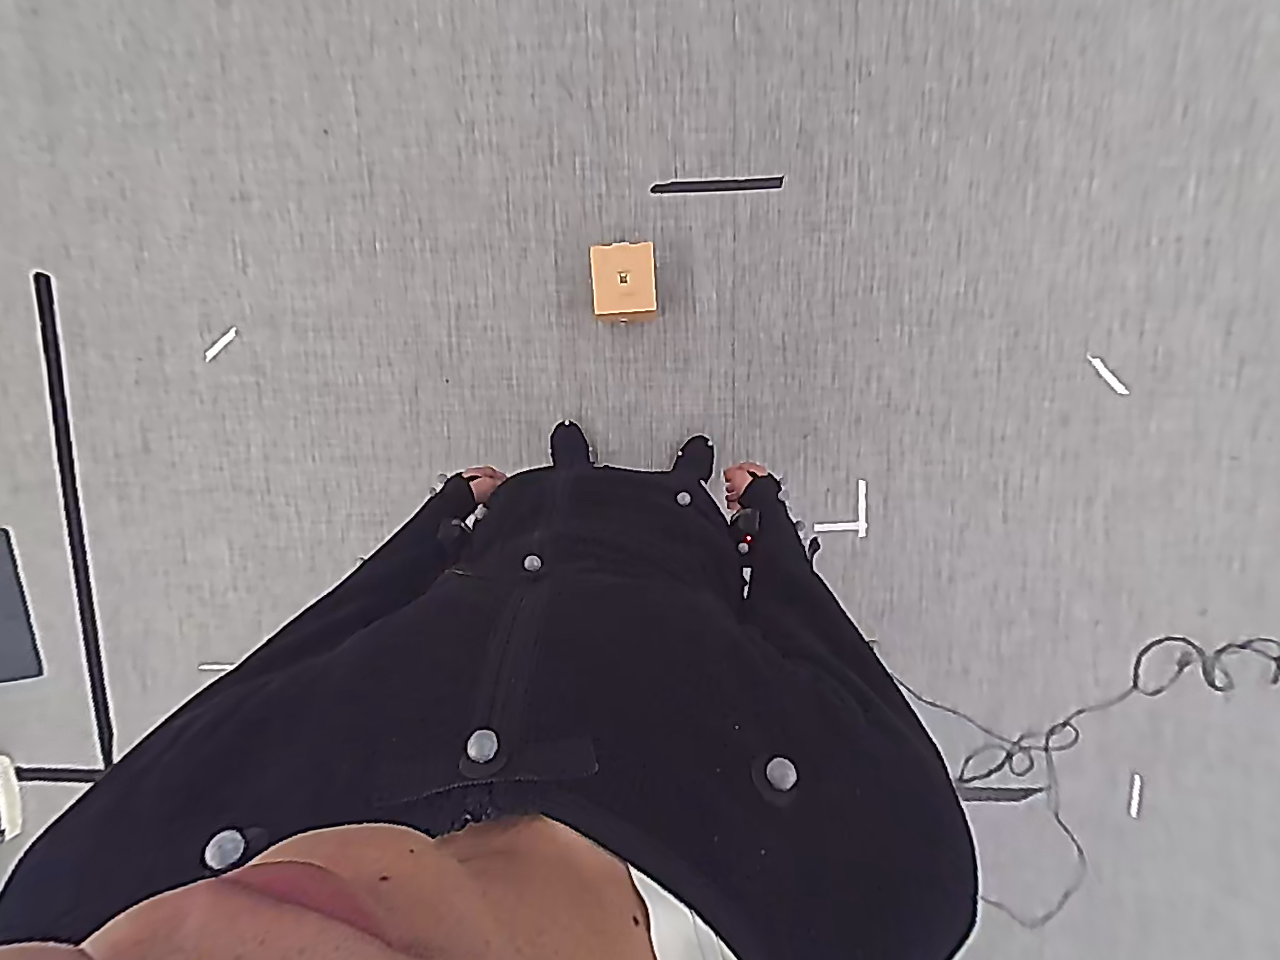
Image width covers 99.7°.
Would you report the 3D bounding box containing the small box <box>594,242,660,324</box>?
[{"bbox_3d":[-0.033,-0.536,1.485,0.168,0.176,0.179,-3,97,3],"label":"small box"}]
